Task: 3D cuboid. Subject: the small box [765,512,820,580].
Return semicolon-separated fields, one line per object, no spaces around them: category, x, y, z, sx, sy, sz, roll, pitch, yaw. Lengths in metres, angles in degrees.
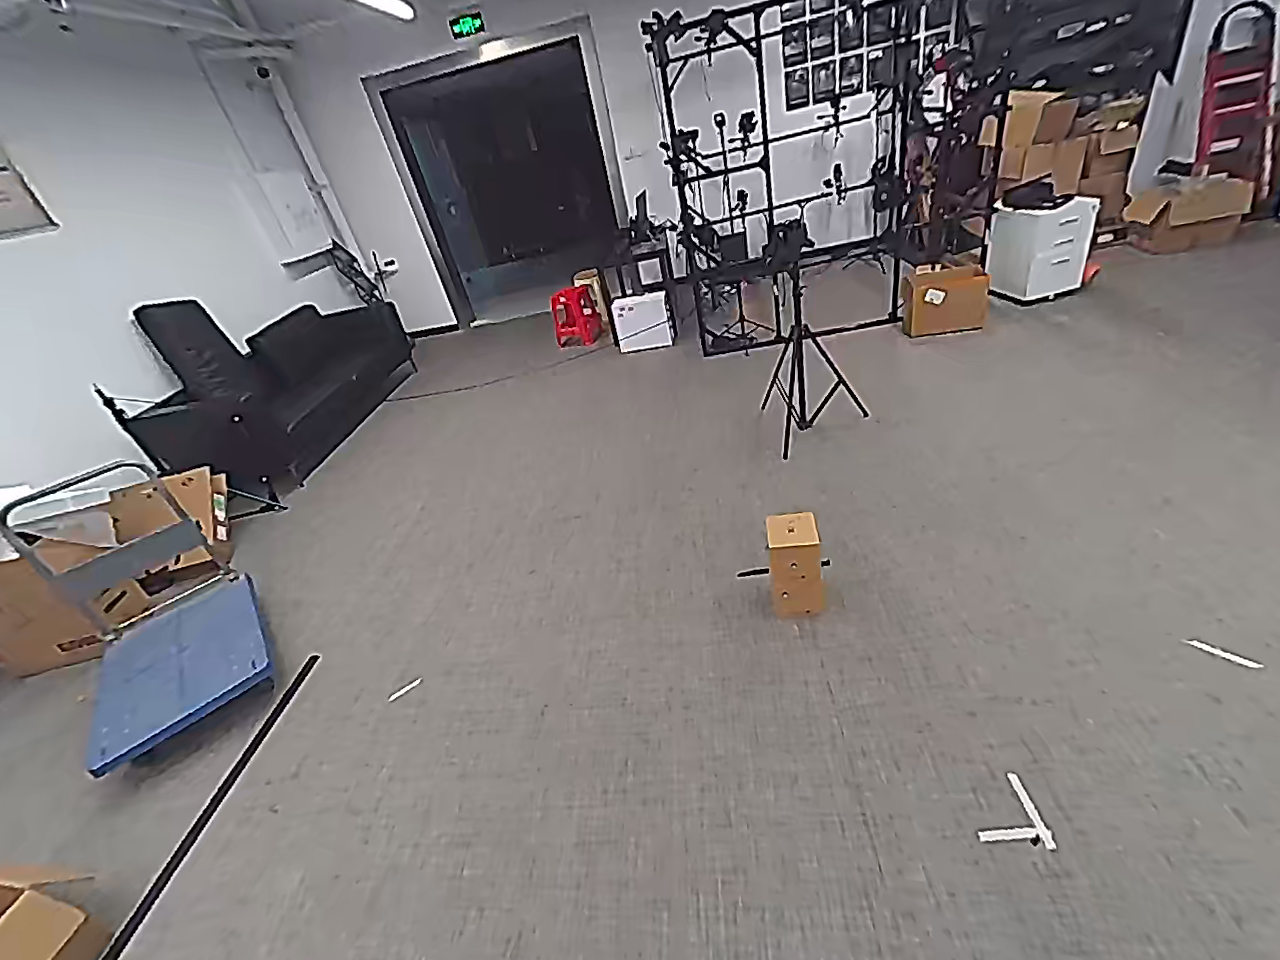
small box;0.532;0.237;1.891;0.168;0.176;0.179;-6;32;13
